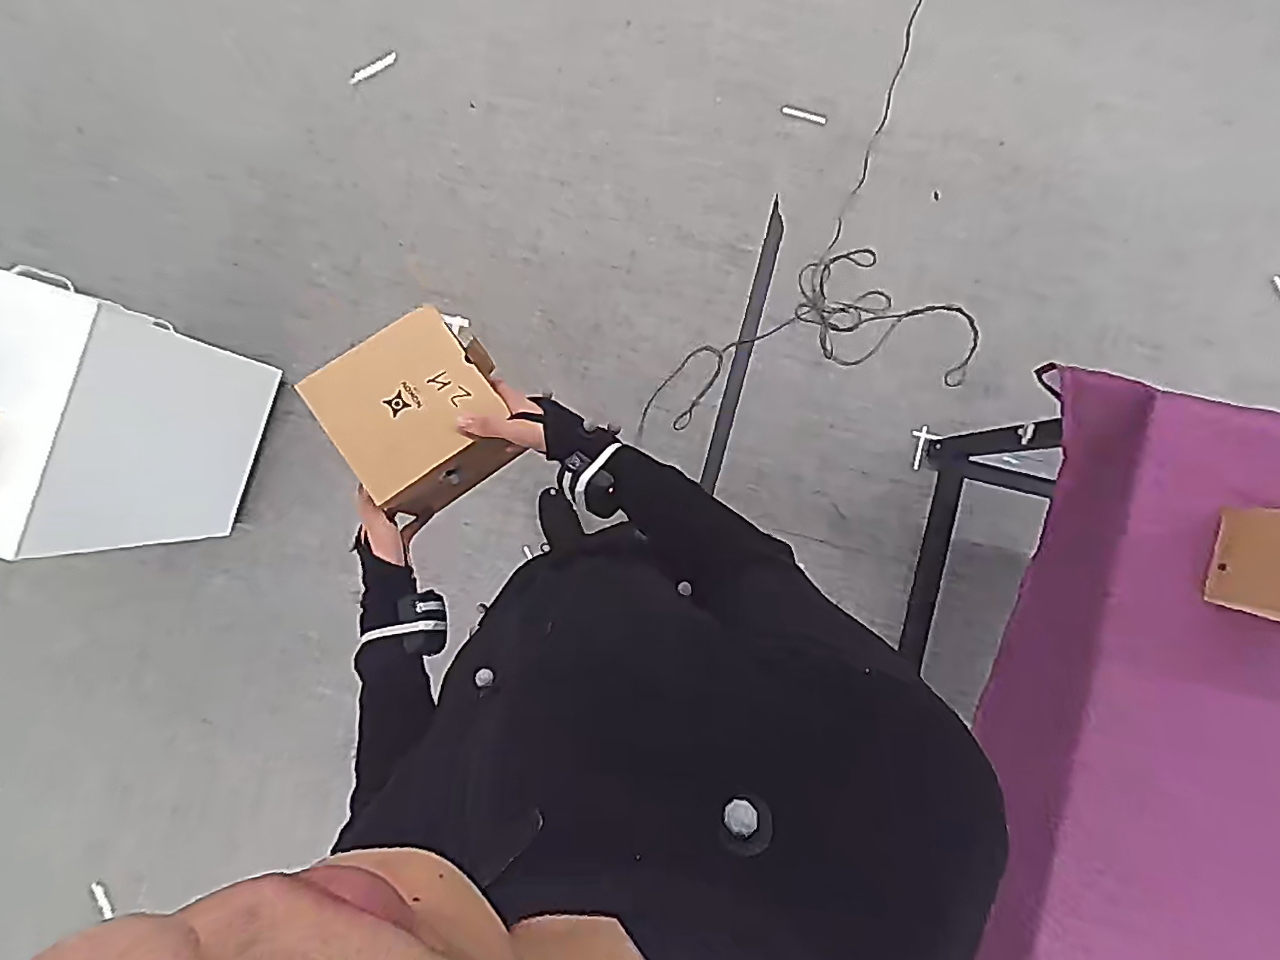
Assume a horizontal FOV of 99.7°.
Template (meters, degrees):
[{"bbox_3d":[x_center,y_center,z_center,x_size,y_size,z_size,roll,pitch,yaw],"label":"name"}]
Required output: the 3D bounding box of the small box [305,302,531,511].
[{"bbox_3d":[-0.257,-0.076,0.672,0.179,0.176,0.168,-36,86,-9],"label":"small box"}]
